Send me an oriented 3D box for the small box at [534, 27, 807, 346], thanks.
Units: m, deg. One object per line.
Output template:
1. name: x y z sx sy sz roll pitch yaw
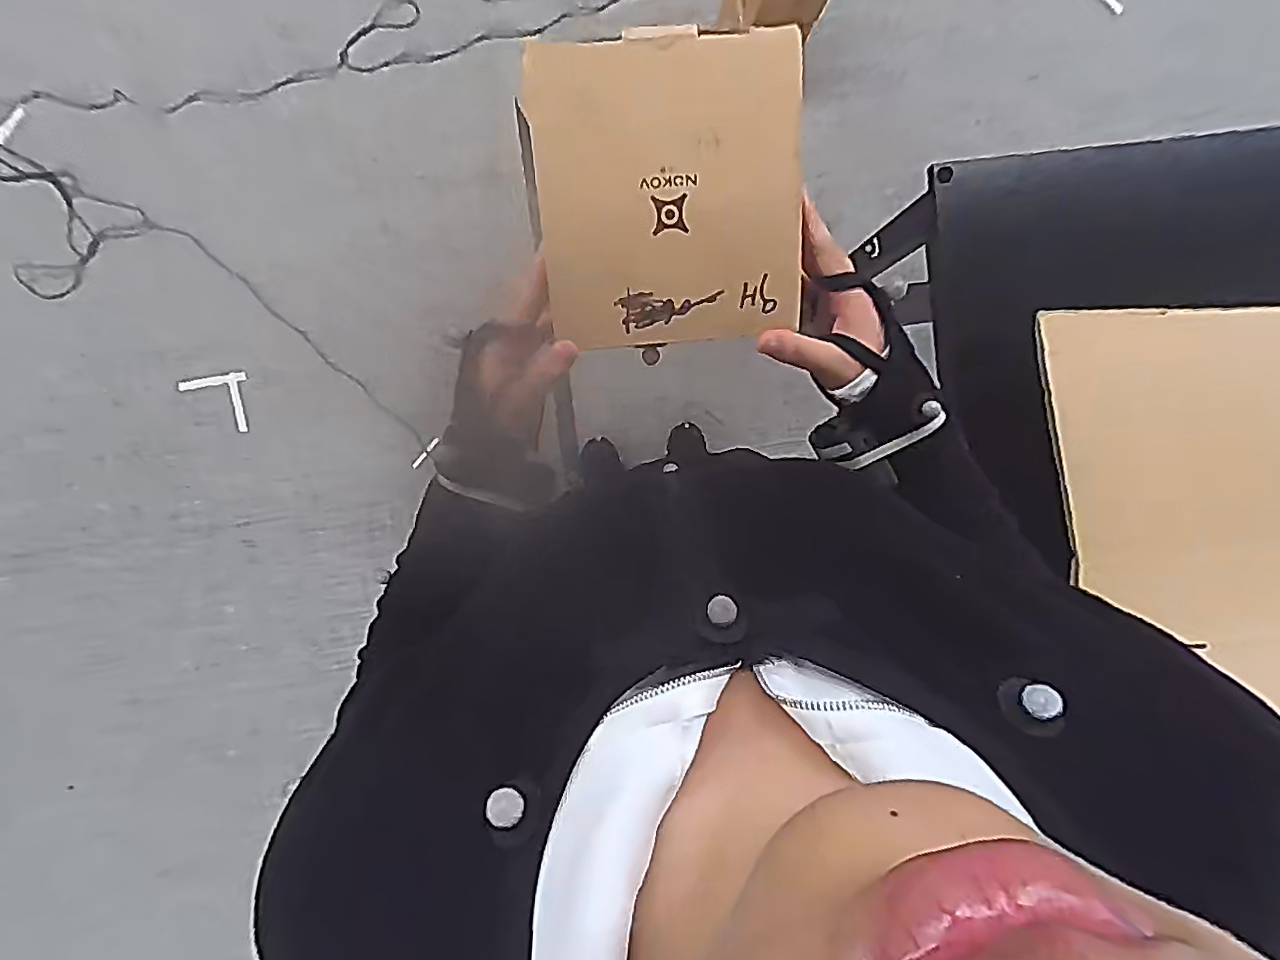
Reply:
1. small box: 0.020 -0.197 0.415 0.168 0.176 0.179 -5 105 0

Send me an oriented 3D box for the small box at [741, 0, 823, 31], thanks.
1. small box: 0.320 -1.140 1.198 0.179 0.176 0.168 -15 95 -3

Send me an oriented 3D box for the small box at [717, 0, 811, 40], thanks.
1. small box: 0.307 -1.147 1.359 0.179 0.176 0.168 -11 94 -1
